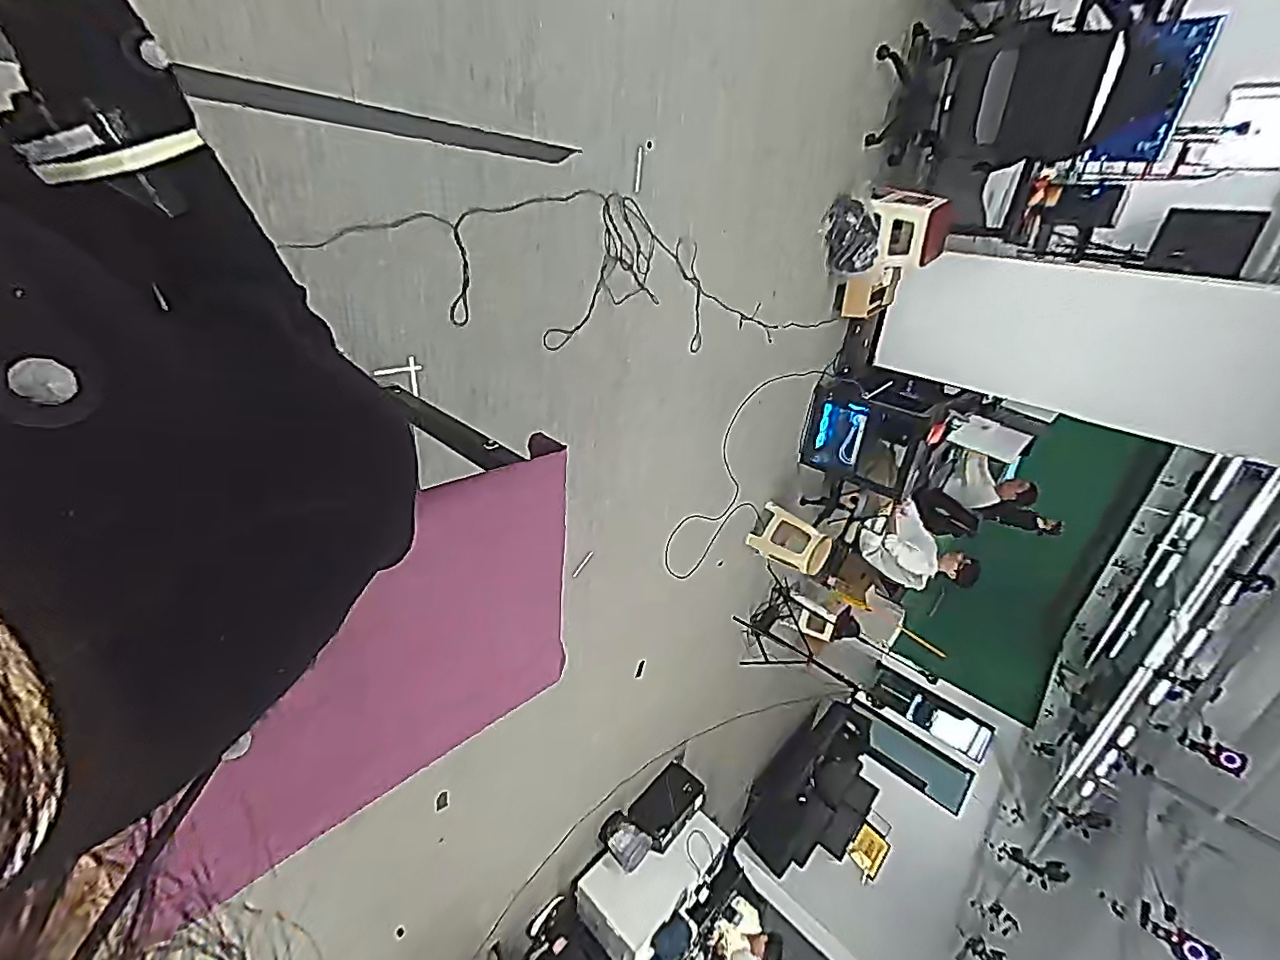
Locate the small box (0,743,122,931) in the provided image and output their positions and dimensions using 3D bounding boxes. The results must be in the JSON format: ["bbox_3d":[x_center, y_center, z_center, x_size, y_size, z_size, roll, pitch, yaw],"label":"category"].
[{"bbox_3d":[-0.700,0.432,0.583,0.168,0.176,0.179,-19,125,-45],"label":"small box"}]

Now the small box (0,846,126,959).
[{"bbox_3d":[-0.581,0.488,0.485,0.168,0.176,0.179,-16,124,-46],"label":"small box"}]
